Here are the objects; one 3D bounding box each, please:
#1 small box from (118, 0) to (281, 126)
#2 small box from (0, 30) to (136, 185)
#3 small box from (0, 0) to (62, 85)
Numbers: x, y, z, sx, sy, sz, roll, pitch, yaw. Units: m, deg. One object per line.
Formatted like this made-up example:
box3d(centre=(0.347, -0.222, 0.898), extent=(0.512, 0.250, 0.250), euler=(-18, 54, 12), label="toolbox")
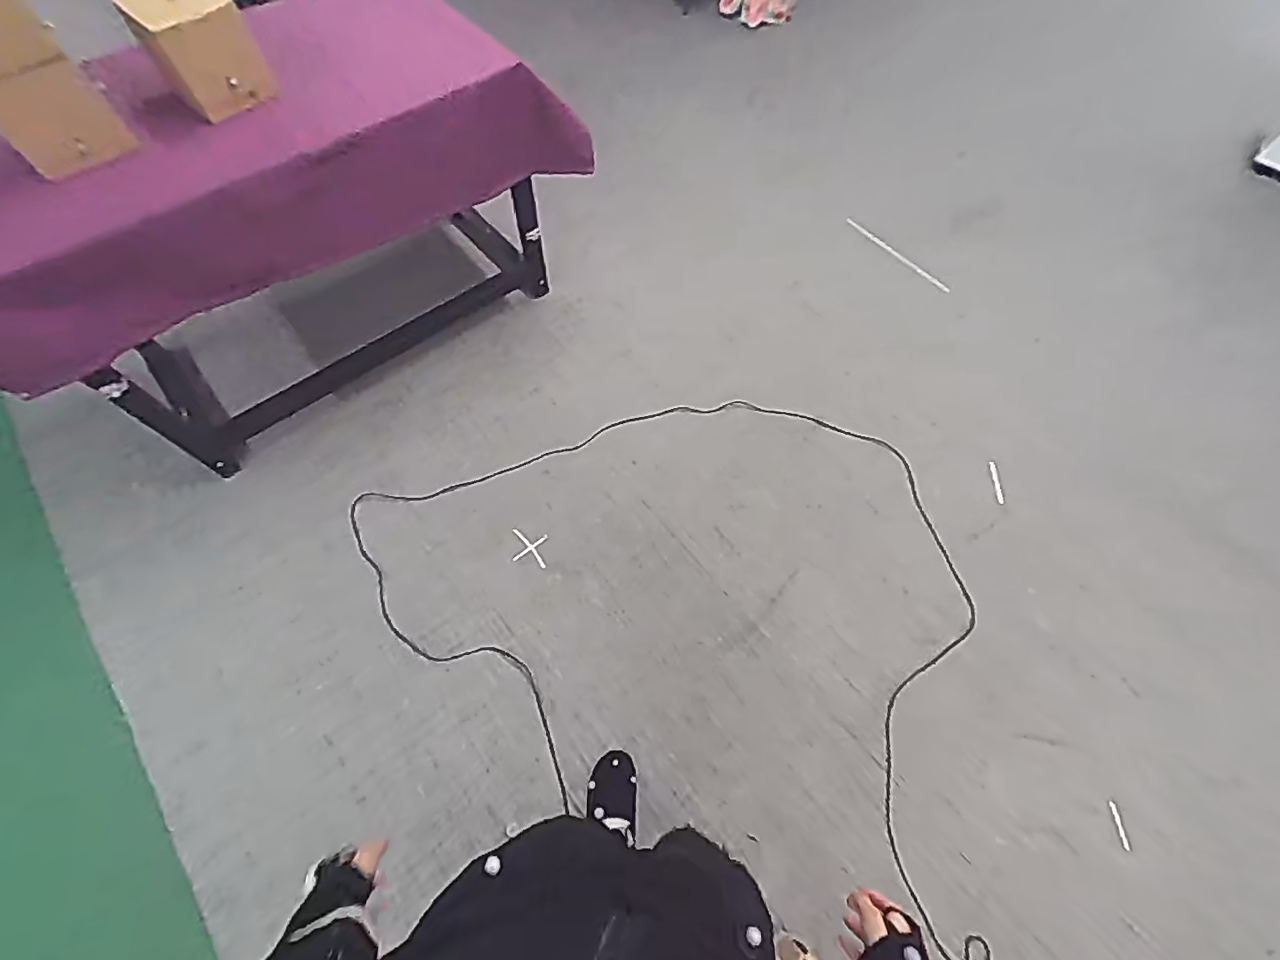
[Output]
box3d(centre=(-0.912, -0.890, 1.136), extent=(0.179, 0.176, 0.168), euler=(40, 70, 16), label="small box")
box3d(centre=(-1.134, -0.713, 1.041), extent=(0.179, 0.176, 0.168), euler=(-39, 70, -19), label="small box")
box3d(centre=(-1.129, -0.787, 0.894), extent=(0.179, 0.176, 0.168), euler=(-39, 71, -18), label="small box")
